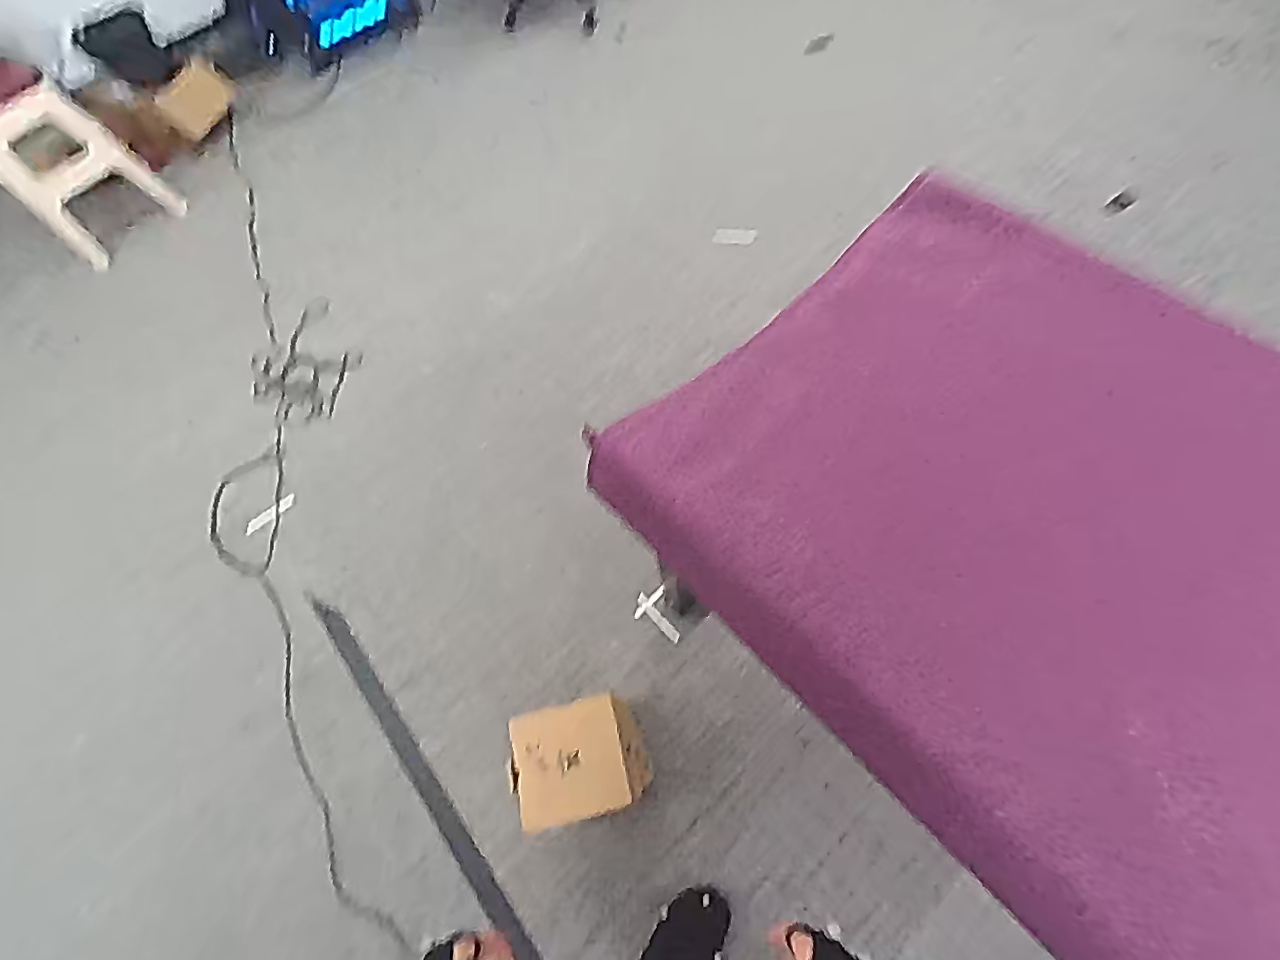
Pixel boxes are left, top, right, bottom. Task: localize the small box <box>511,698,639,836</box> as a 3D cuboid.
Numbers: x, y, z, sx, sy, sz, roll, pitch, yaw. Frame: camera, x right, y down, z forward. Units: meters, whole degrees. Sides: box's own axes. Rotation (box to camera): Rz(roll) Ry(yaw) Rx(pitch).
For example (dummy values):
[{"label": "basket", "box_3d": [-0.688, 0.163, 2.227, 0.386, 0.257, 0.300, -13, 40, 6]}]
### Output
[{"label": "small box", "box_3d": [-0.104, 0.482, 0.927, 0.179, 0.176, 0.168, -15, 64, -1]}]
